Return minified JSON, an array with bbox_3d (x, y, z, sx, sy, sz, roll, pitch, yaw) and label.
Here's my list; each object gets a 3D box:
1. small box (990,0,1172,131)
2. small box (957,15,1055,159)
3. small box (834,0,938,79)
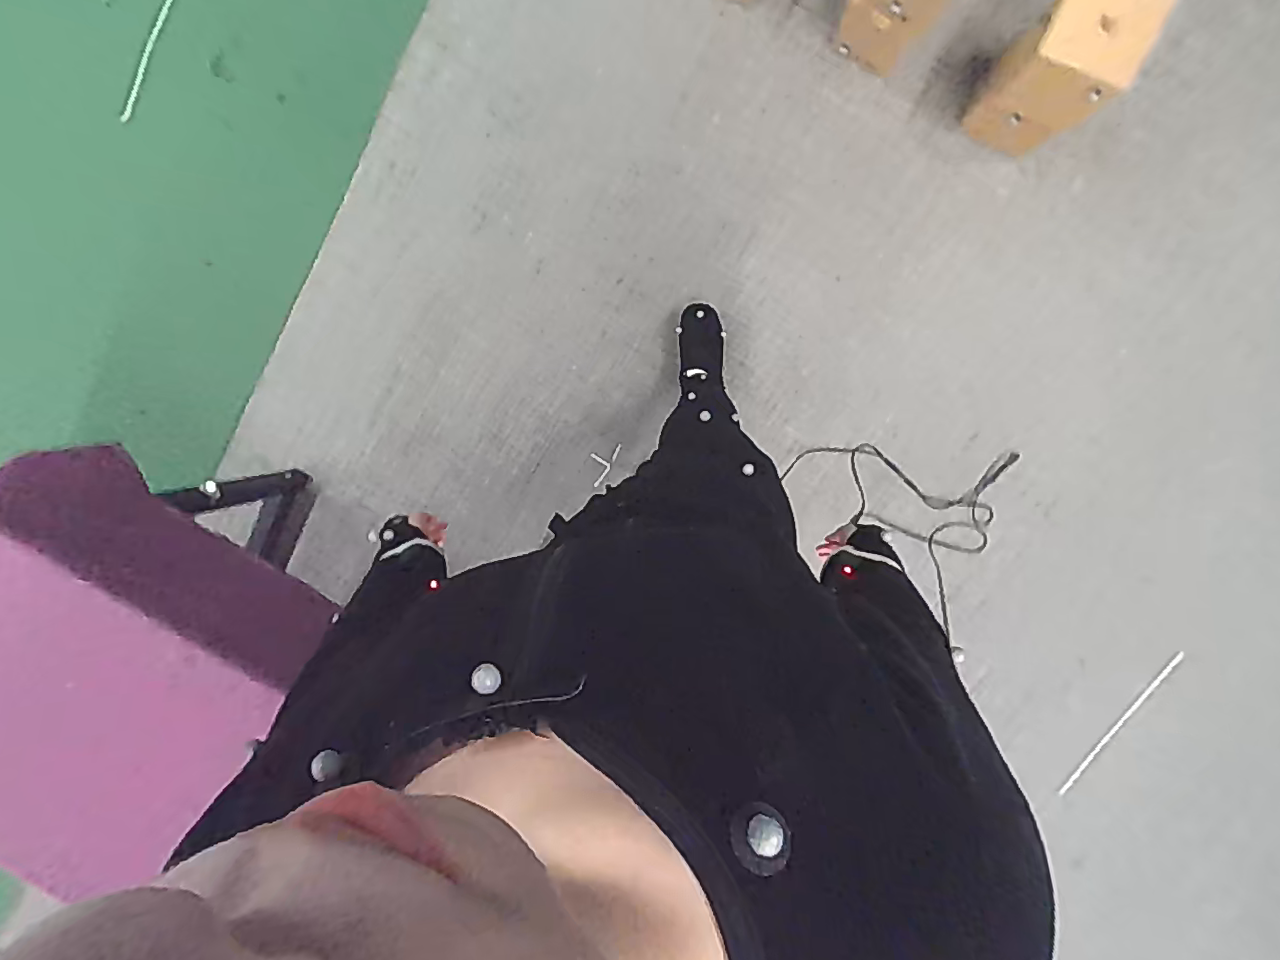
[{"bbox_3d":[0.823,-0.810,1.034,0.179,0.176,0.168,24,101,2],"label":"small box"},{"bbox_3d":[0.847,-0.849,1.190,0.179,0.176,0.168,29,101,1],"label":"small box"},{"bbox_3d":[0.551,-1.045,1.194,0.168,0.176,0.179,31,100,1],"label":"small box"}]
